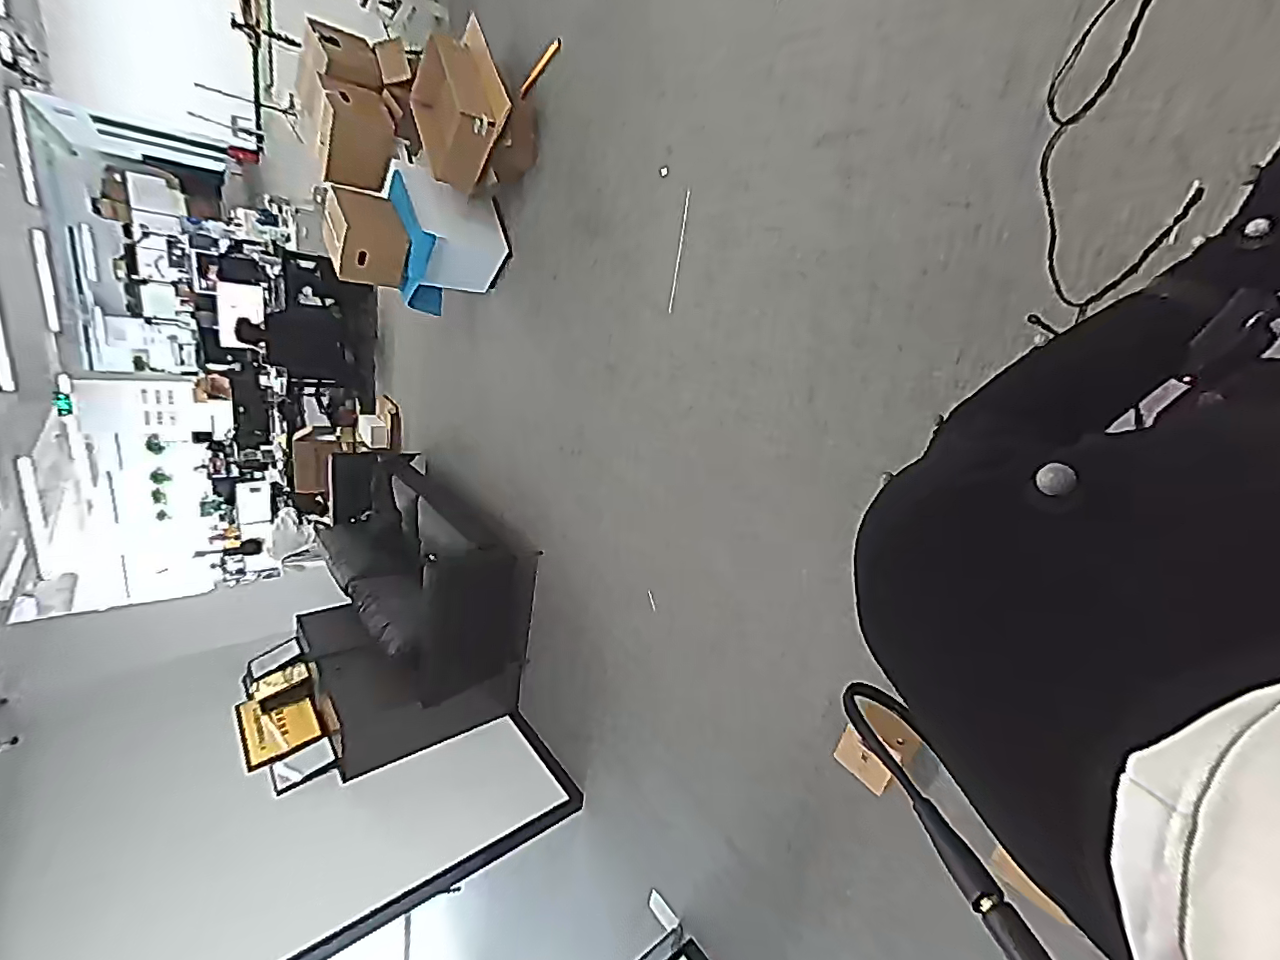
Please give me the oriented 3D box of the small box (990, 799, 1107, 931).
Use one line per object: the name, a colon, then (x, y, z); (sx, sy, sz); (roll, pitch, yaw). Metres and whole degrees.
small box: (1.029, 0.954, 1.359); (0.179, 0.176, 0.168); (28, 115, 45)
